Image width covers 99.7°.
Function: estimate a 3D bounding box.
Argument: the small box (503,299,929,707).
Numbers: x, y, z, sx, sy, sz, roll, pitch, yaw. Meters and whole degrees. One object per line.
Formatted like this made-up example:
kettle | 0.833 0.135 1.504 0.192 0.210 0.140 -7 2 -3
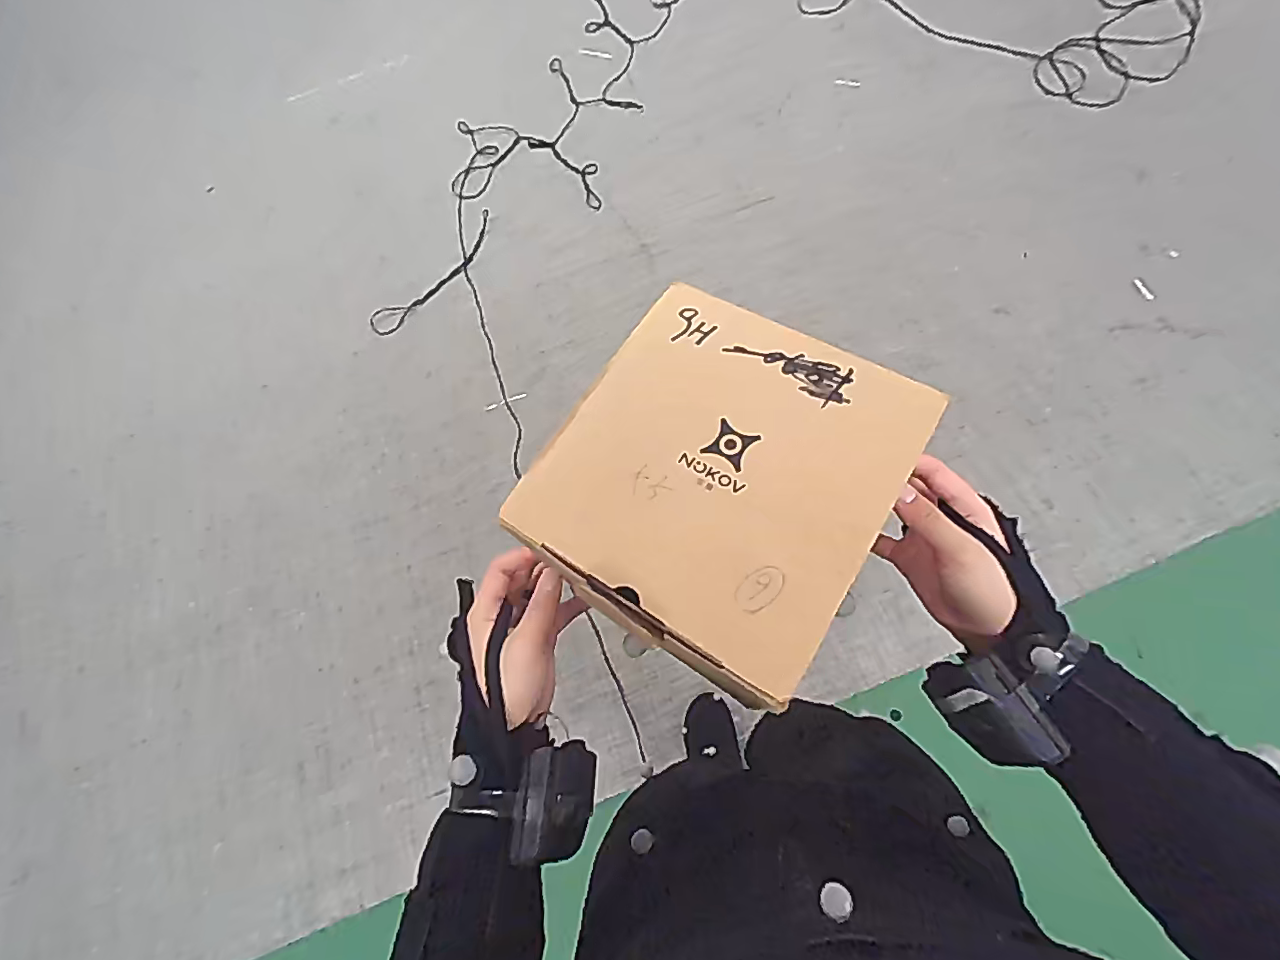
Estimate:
small box | 0.049 0.025 0.356 0.168 0.176 0.179 30 75 18
